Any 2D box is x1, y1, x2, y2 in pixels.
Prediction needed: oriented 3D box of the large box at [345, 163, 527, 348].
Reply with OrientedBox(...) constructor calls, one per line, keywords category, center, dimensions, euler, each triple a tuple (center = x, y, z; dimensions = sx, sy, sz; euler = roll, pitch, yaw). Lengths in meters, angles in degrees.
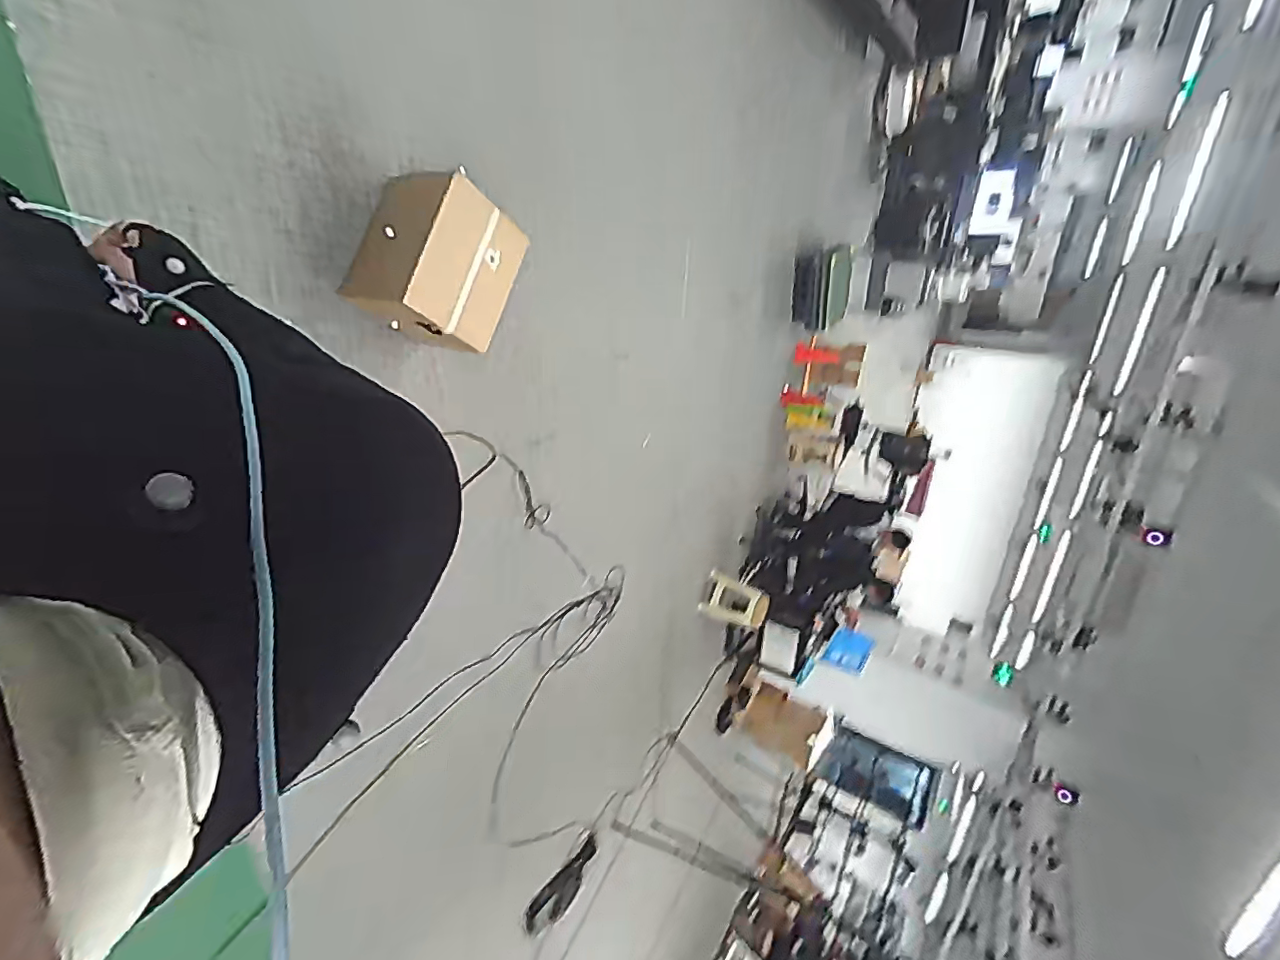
OrientedBox(category="large box", center=(-0.610, -0.657, 1.634), dimensions=(0.320, 0.320, 0.408), euler=(28, 79, -58))
